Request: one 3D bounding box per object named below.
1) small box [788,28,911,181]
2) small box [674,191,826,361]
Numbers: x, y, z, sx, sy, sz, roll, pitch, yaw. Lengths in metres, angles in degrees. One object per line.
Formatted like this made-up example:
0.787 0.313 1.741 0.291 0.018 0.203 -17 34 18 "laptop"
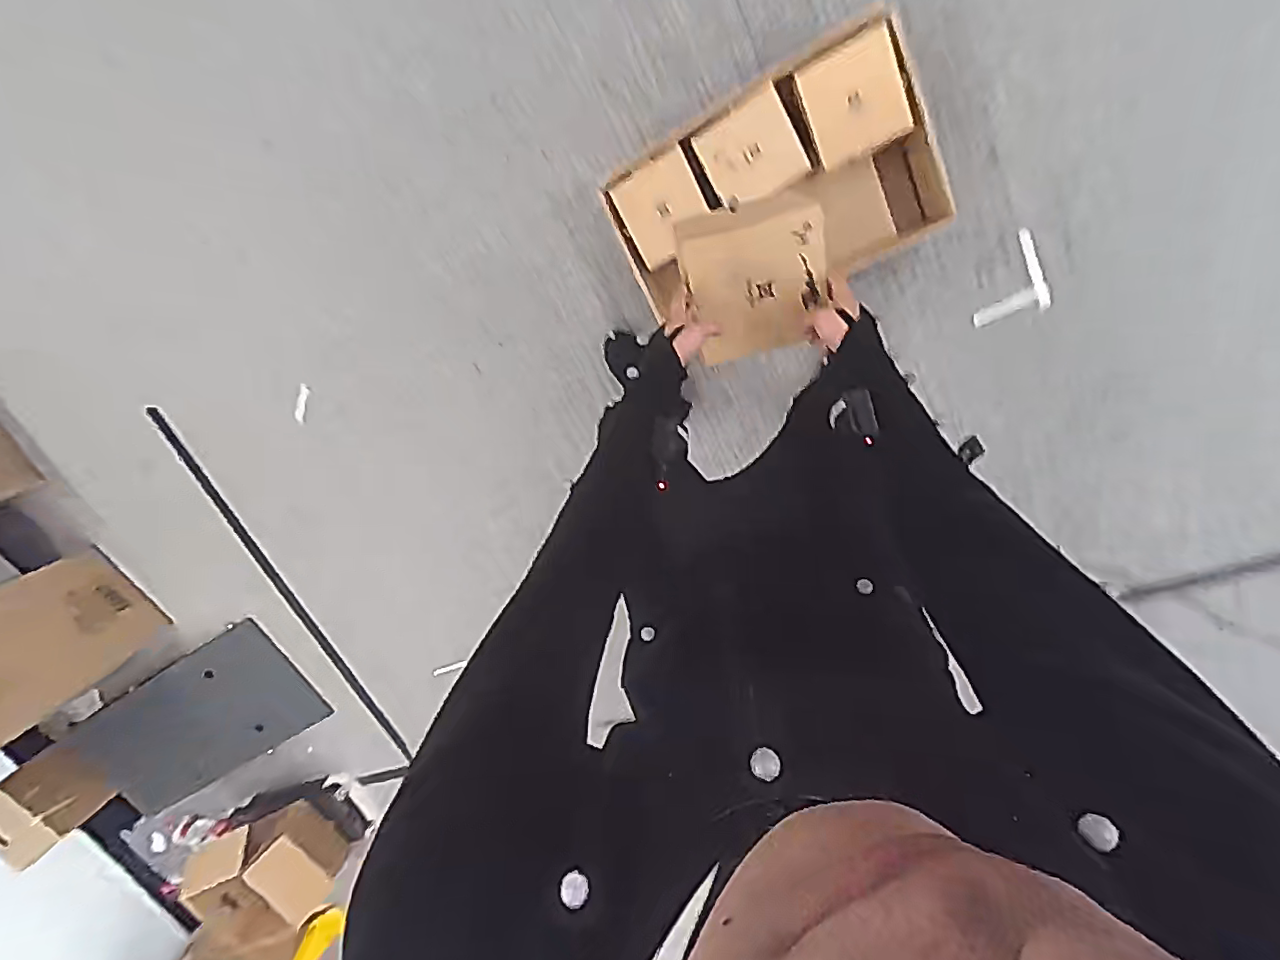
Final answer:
0.402 -0.721 1.063 0.168 0.176 0.179 -22 108 18 "small box"
0.146 -0.287 0.751 0.179 0.176 0.168 -12 123 7 "small box"
